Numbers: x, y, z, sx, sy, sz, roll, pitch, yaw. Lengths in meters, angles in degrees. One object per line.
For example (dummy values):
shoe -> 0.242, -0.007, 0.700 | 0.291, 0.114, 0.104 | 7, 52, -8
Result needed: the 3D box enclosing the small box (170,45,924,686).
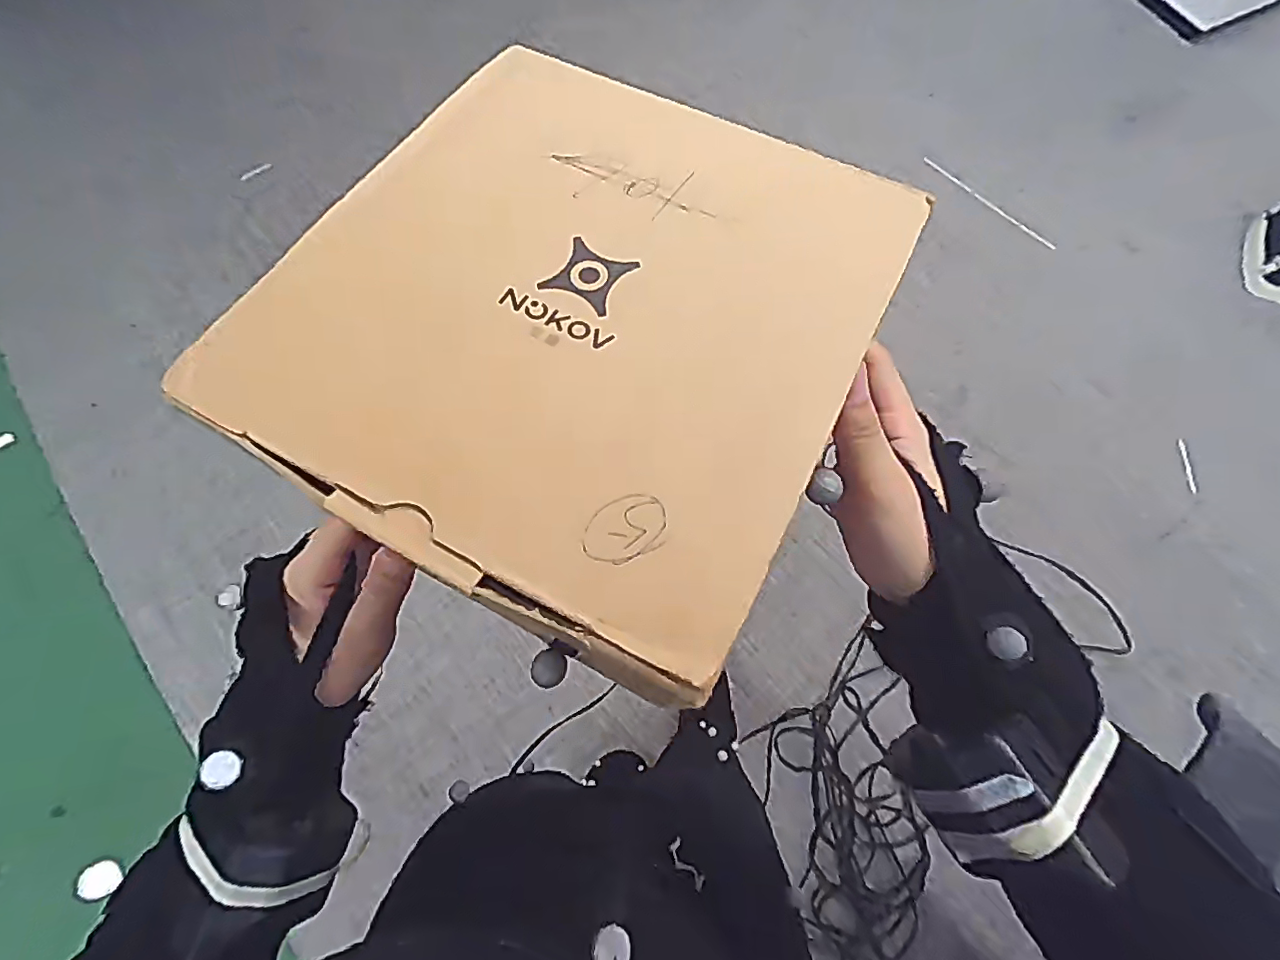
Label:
small box -> -0.018, -0.028, 0.234 | 0.168, 0.176, 0.179 | 26, 69, 9
